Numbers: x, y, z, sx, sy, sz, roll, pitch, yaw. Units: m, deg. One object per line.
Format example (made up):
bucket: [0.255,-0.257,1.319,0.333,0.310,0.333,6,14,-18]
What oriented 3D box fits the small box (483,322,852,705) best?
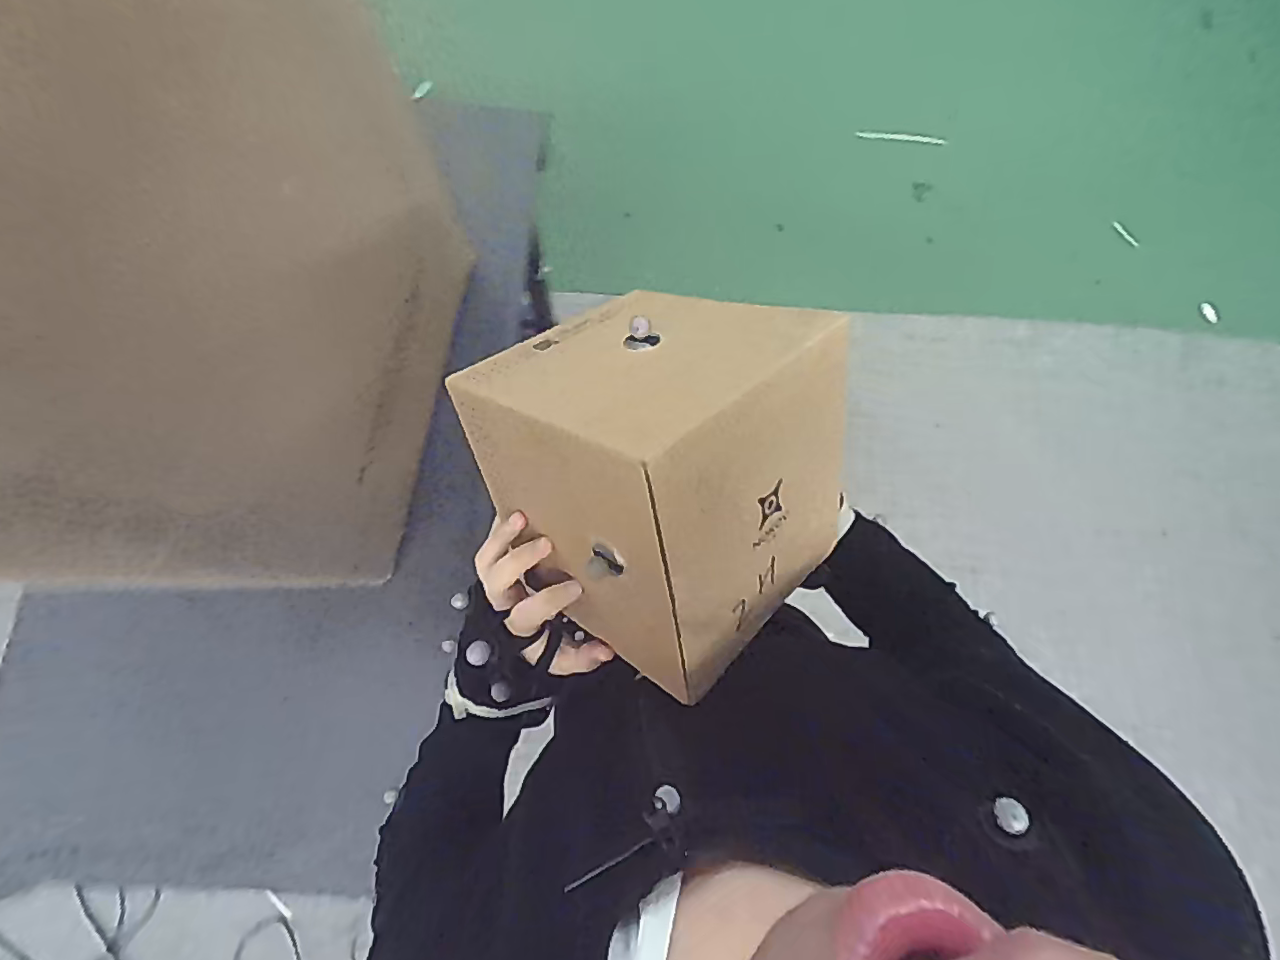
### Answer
small box: [0.021,0.001,0.365,0.168,0.179,0.176,-33,40,-32]
